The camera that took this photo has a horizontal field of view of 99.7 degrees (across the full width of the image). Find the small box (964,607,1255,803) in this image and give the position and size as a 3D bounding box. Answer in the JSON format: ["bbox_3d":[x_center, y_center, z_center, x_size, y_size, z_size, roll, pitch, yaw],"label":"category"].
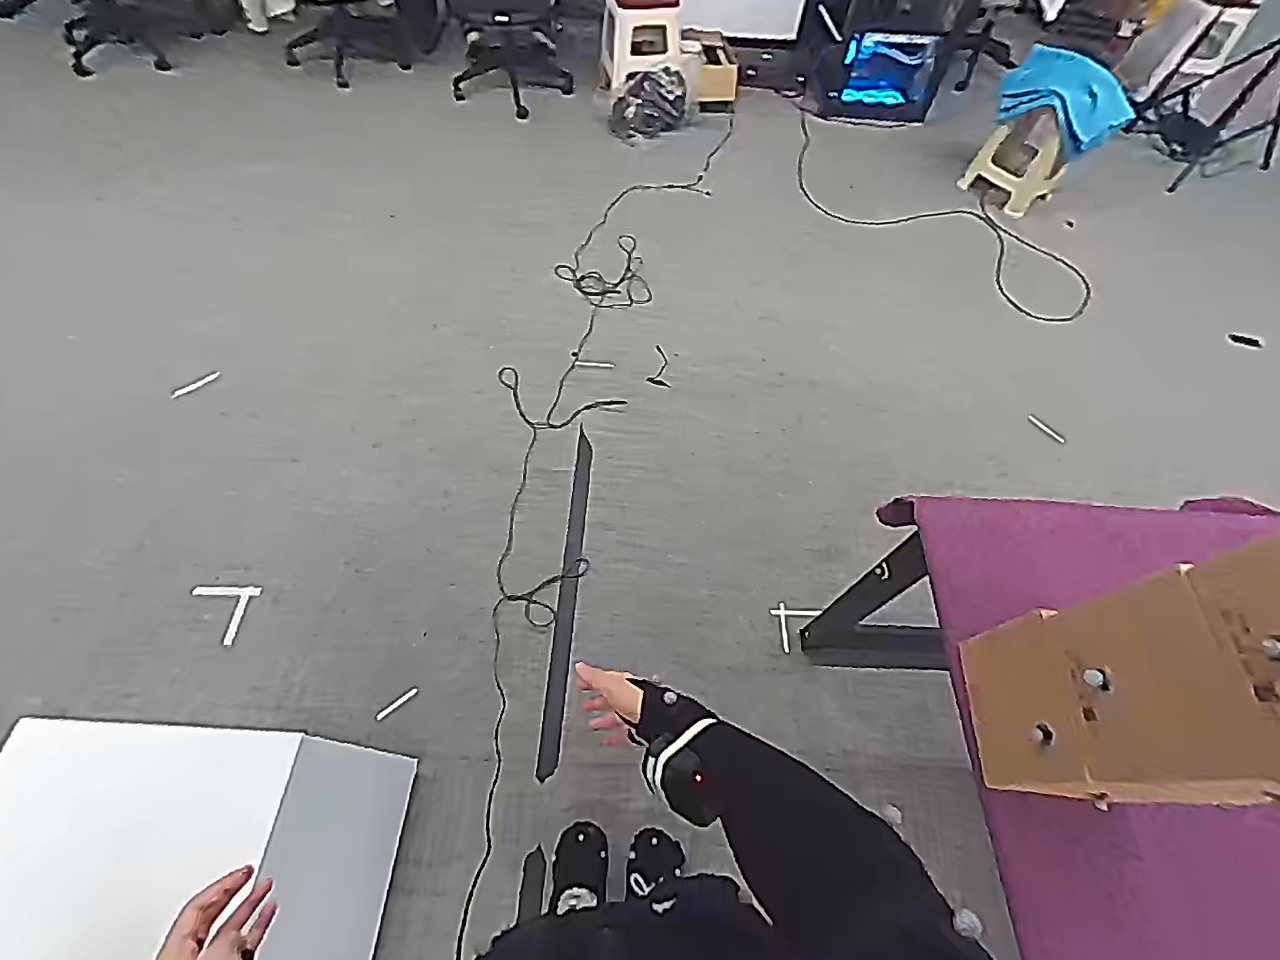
[{"bbox_3d":[0.515,0.265,0.630,0.168,0.176,0.179,7,59,0],"label":"small box"}]

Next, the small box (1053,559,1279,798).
[{"bbox_3d":[0.533,0.185,0.487,0.179,0.176,0.168,5,59,1],"label":"small box"}]
